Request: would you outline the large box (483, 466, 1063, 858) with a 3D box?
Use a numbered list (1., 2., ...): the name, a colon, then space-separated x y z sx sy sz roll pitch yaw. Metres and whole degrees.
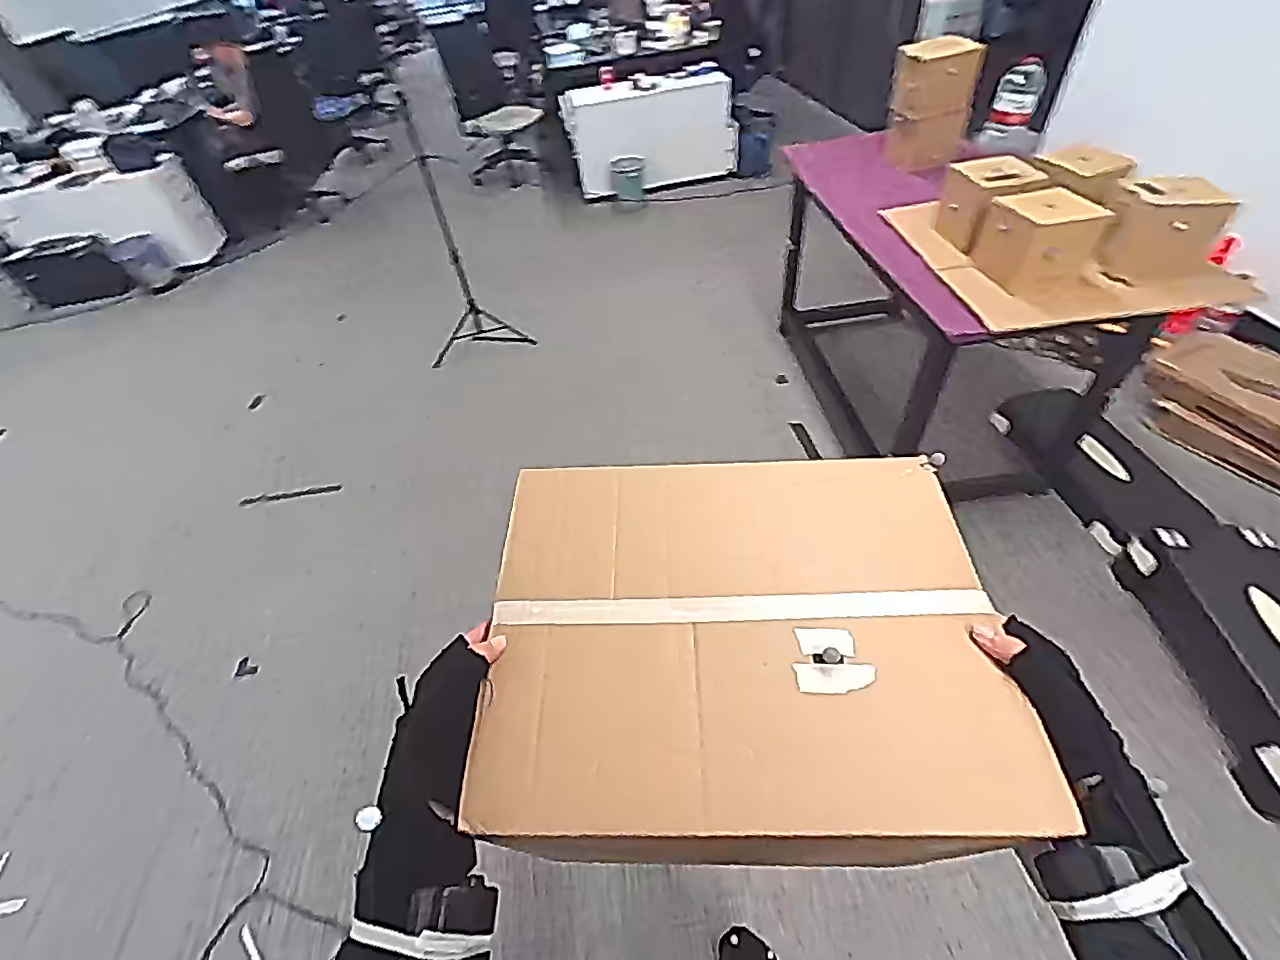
1. large box: 0.094 0.204 0.575 0.408 0.320 0.320 -1 53 3
